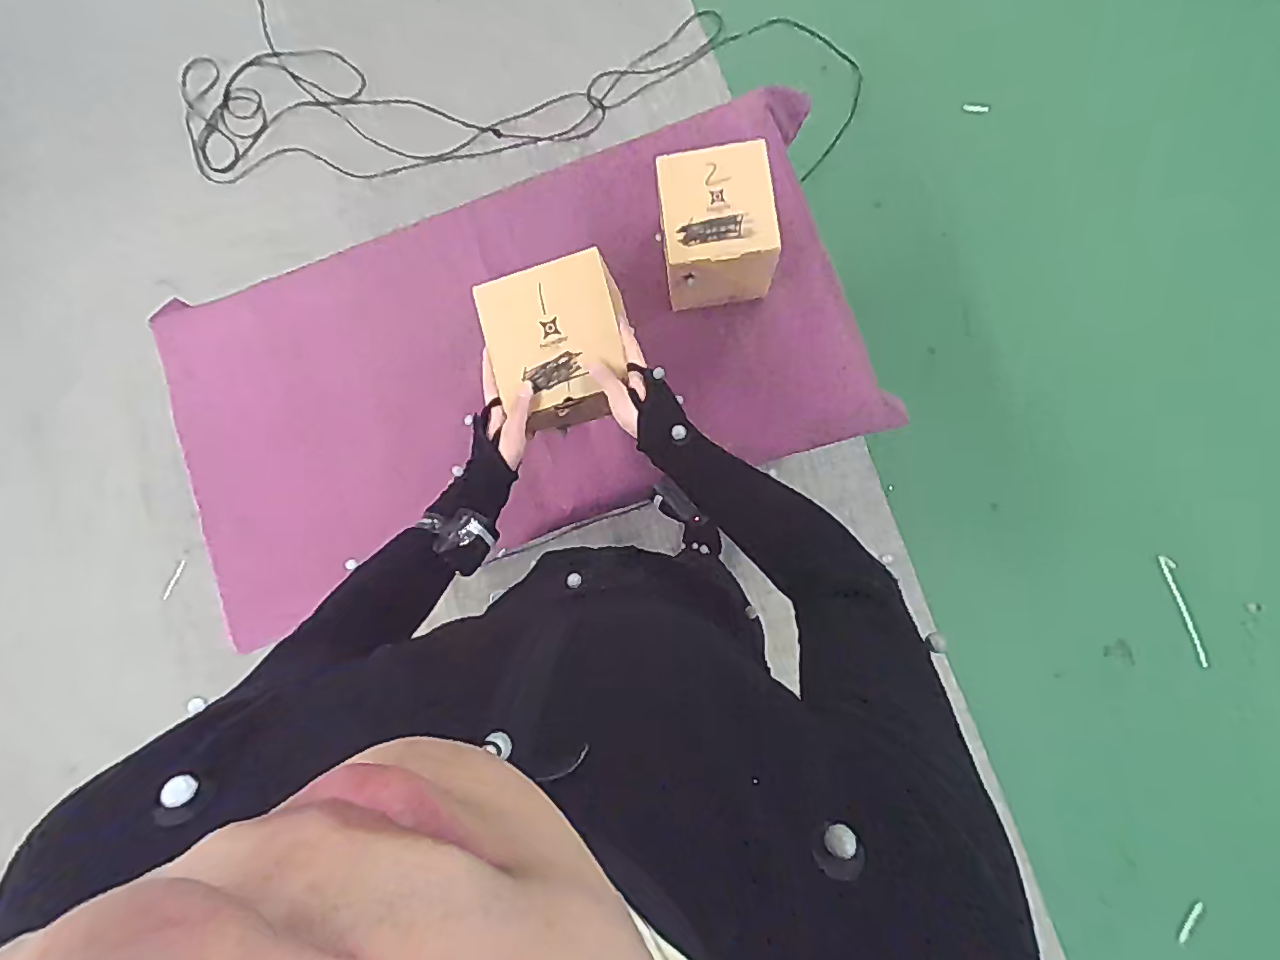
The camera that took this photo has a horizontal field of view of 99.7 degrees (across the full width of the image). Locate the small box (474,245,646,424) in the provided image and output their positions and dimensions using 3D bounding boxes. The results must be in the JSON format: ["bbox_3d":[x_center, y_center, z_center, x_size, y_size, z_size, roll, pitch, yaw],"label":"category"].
[{"bbox_3d":[-0.095,-0.179,0.729,0.168,0.176,0.179,-15,88,7],"label":"small box"}]
